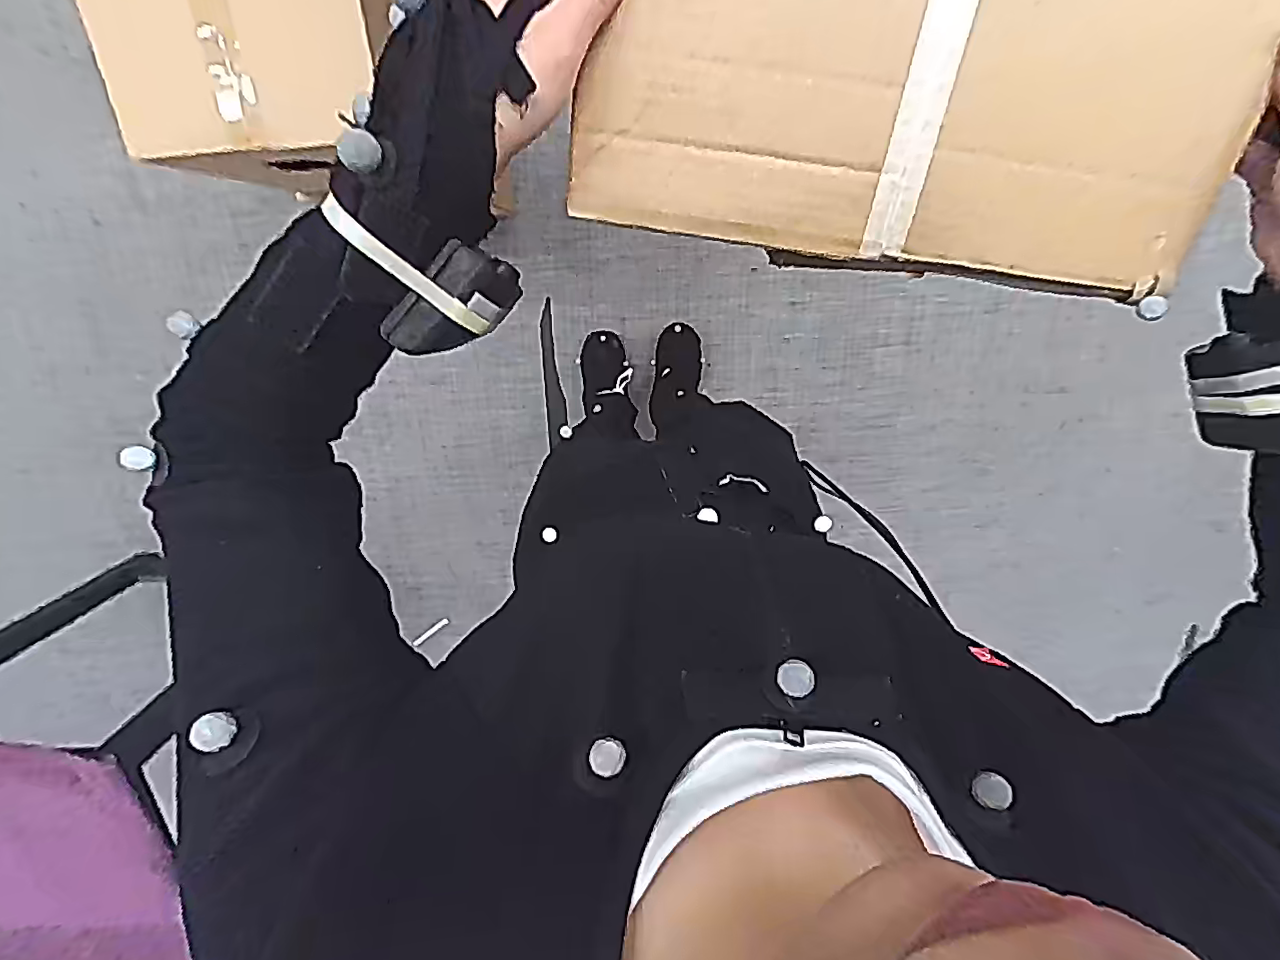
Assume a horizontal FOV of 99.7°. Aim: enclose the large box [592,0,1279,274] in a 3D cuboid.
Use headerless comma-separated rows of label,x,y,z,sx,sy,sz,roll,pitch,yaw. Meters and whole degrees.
large box,0.149,-0.364,0.318,0.320,0.320,0.408,7,116,-1
